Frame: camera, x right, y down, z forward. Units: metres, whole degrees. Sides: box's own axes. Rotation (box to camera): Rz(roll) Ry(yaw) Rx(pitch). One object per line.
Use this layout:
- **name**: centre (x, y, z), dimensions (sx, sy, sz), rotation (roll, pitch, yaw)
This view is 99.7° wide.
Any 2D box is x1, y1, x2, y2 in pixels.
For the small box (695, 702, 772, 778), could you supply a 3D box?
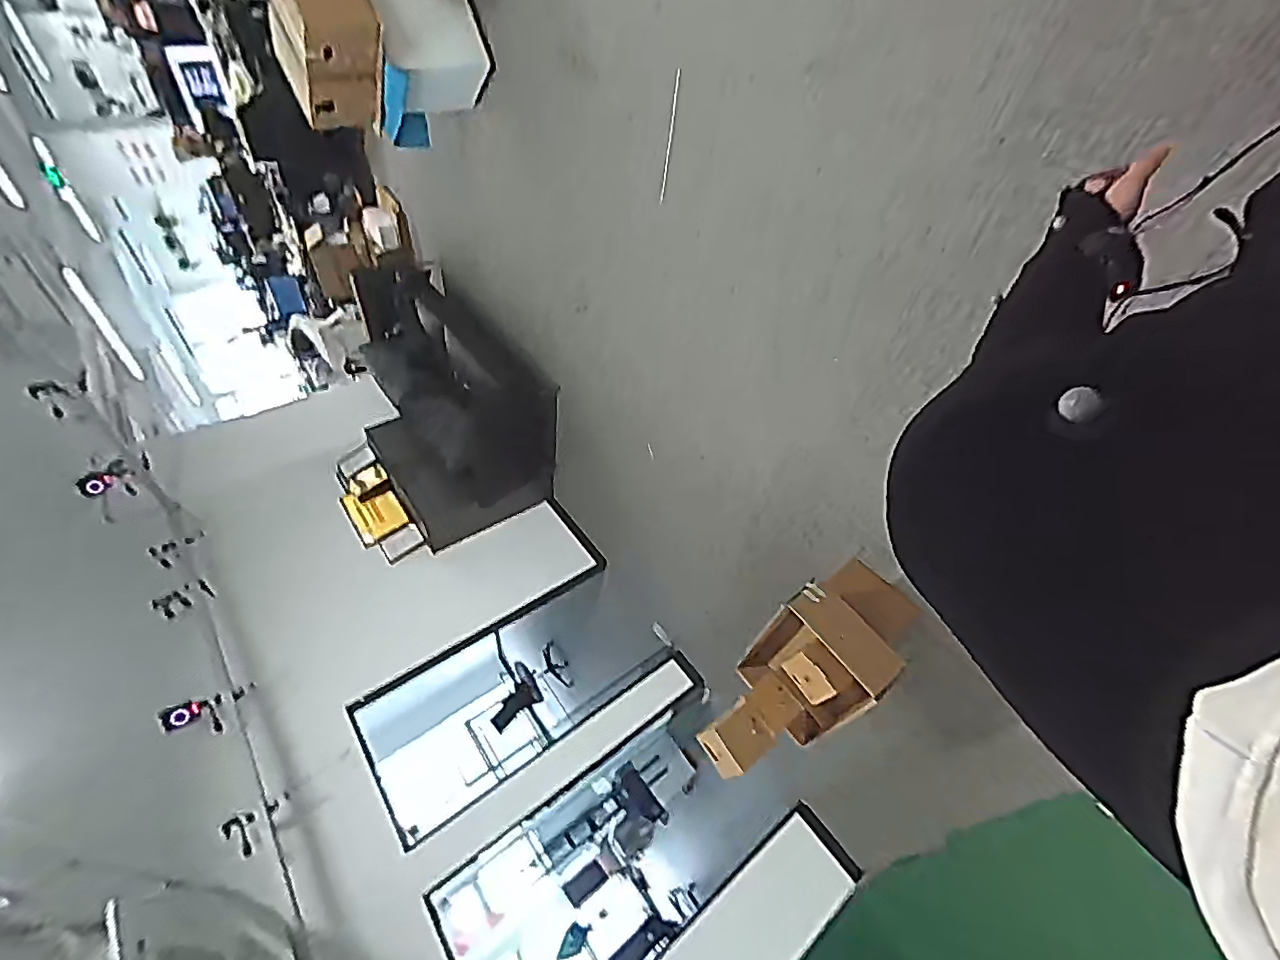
- **small box**: centre (0.329, 0.911, 1.897), dimensions (0.168, 0.176, 0.179), rotation (53, 147, 19)

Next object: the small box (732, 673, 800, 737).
- **small box**: centre (0.455, 0.844, 1.979), dimensions (0.168, 0.176, 0.179), rotation (47, 145, 27)

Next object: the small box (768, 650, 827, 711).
- **small box**: centre (0.580, 0.784, 2.063), dimensions (0.168, 0.176, 0.179), rotation (47, 145, 26)
